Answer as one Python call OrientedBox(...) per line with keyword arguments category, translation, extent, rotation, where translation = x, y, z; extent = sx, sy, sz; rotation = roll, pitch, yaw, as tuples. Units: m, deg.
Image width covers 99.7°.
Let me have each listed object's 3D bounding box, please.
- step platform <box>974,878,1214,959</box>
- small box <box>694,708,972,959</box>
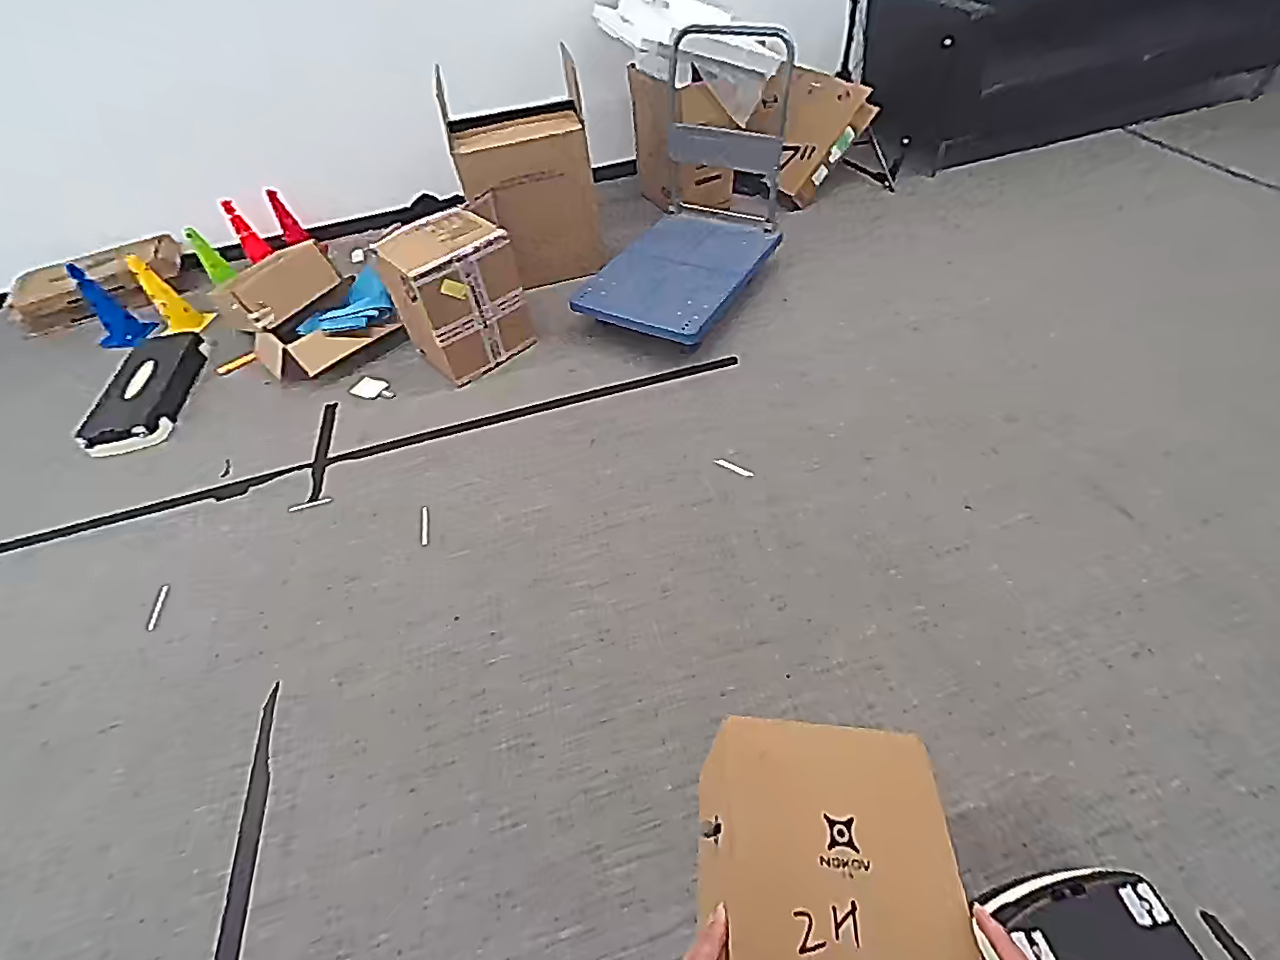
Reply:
OrientedBox(category="step platform", translation=(0.809, 0.972, 0.737), extent=(0.286, 0.204, 0.684), rotation=(-15, 49, -6))
OrientedBox(category="small box", translation=(0.136, 0.318, 0.452), extent=(0.168, 0.176, 0.179), rotation=(5, 45, 2))
